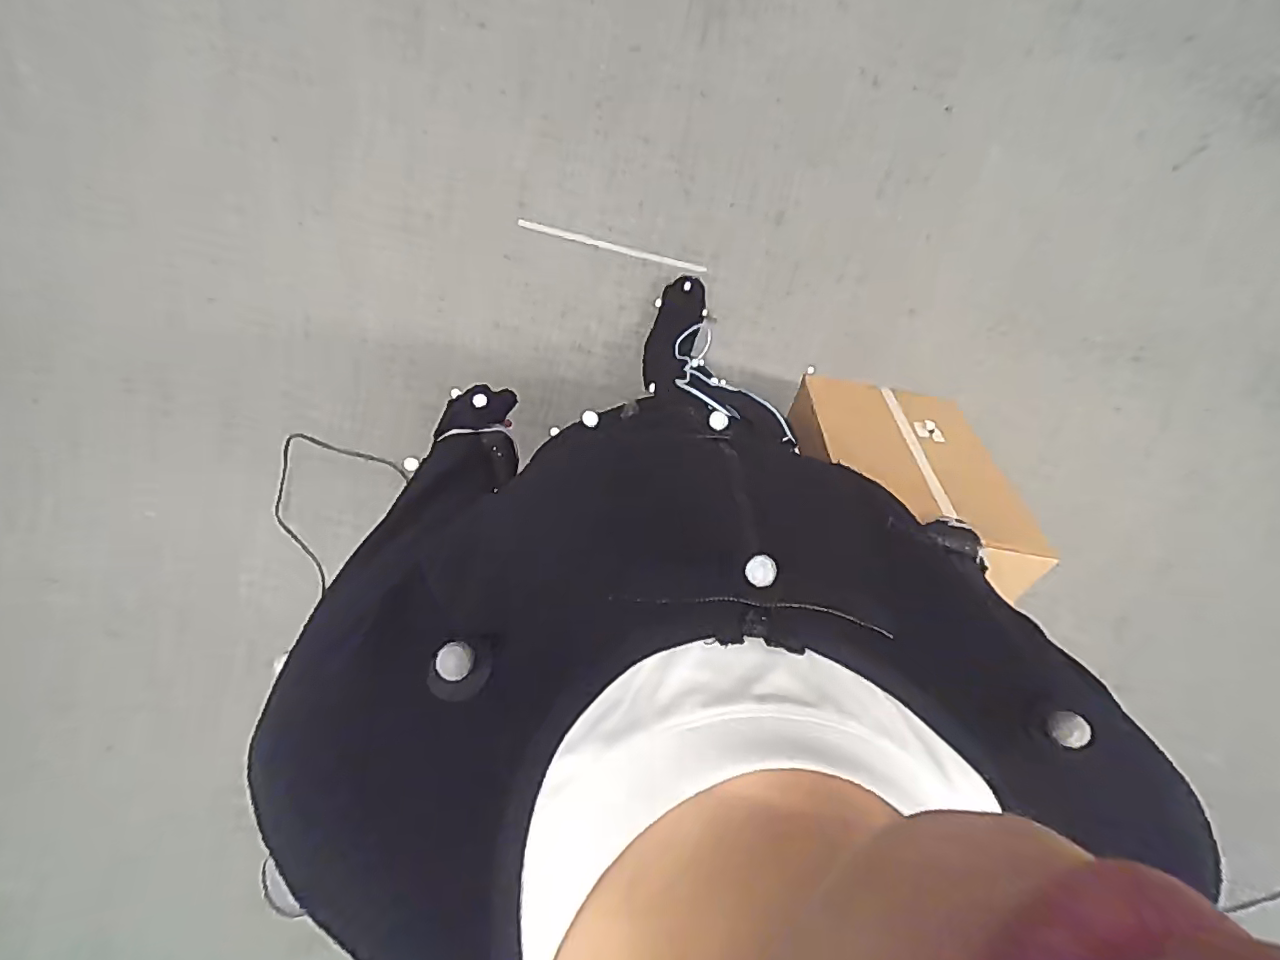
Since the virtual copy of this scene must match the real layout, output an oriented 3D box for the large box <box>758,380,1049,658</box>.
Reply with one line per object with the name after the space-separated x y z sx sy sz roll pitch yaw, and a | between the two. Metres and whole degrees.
0.431 0.067 1.013 0.320 0.408 0.320 10 131 -4 | large box
